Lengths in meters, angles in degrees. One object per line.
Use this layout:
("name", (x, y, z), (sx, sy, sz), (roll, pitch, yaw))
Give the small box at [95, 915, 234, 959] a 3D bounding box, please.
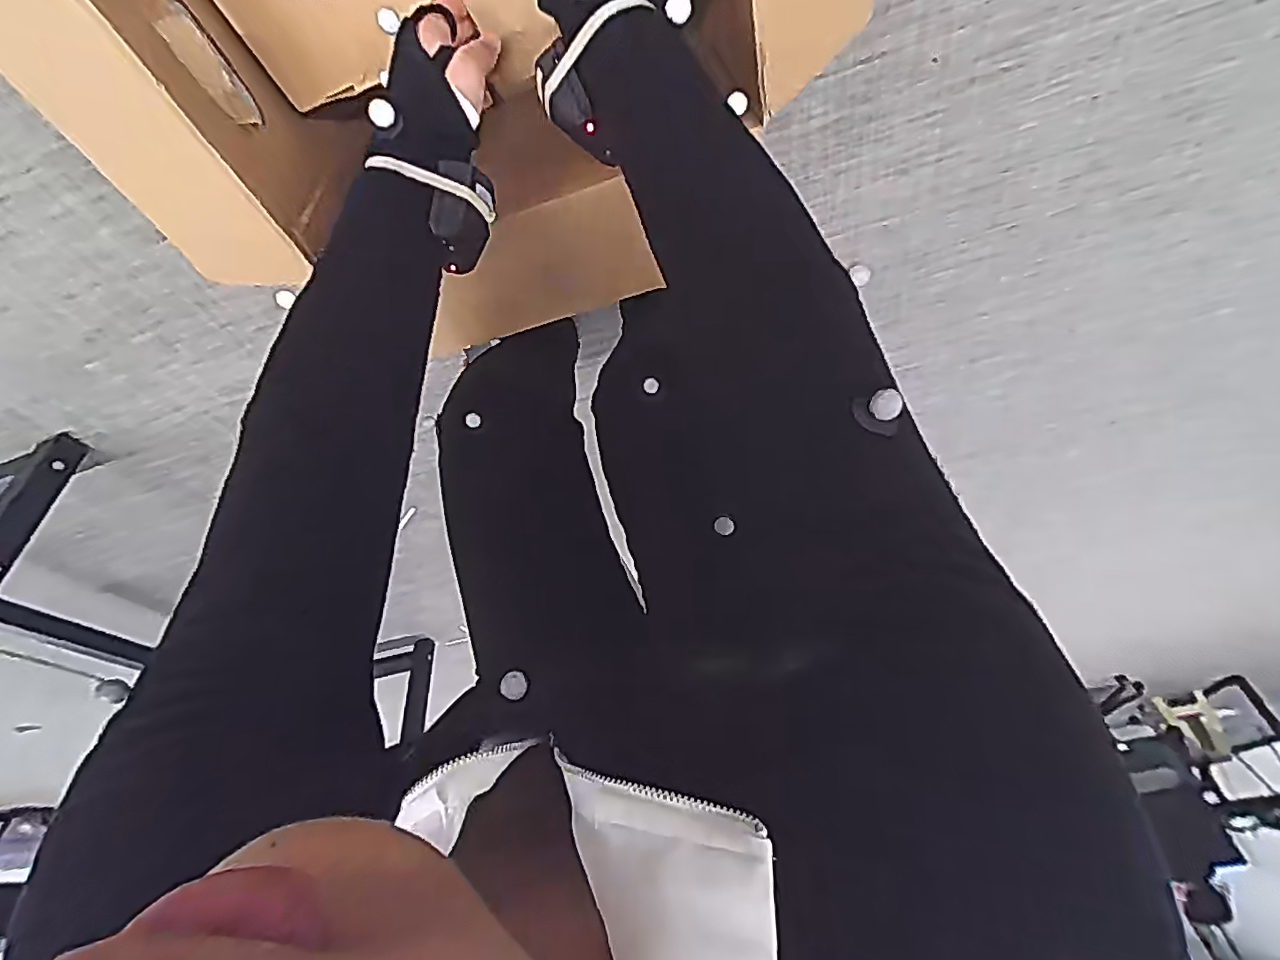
("small box", (-1.005, 1.025, 1.123), (0.168, 0.176, 0.179), (-14, 142, 10))
